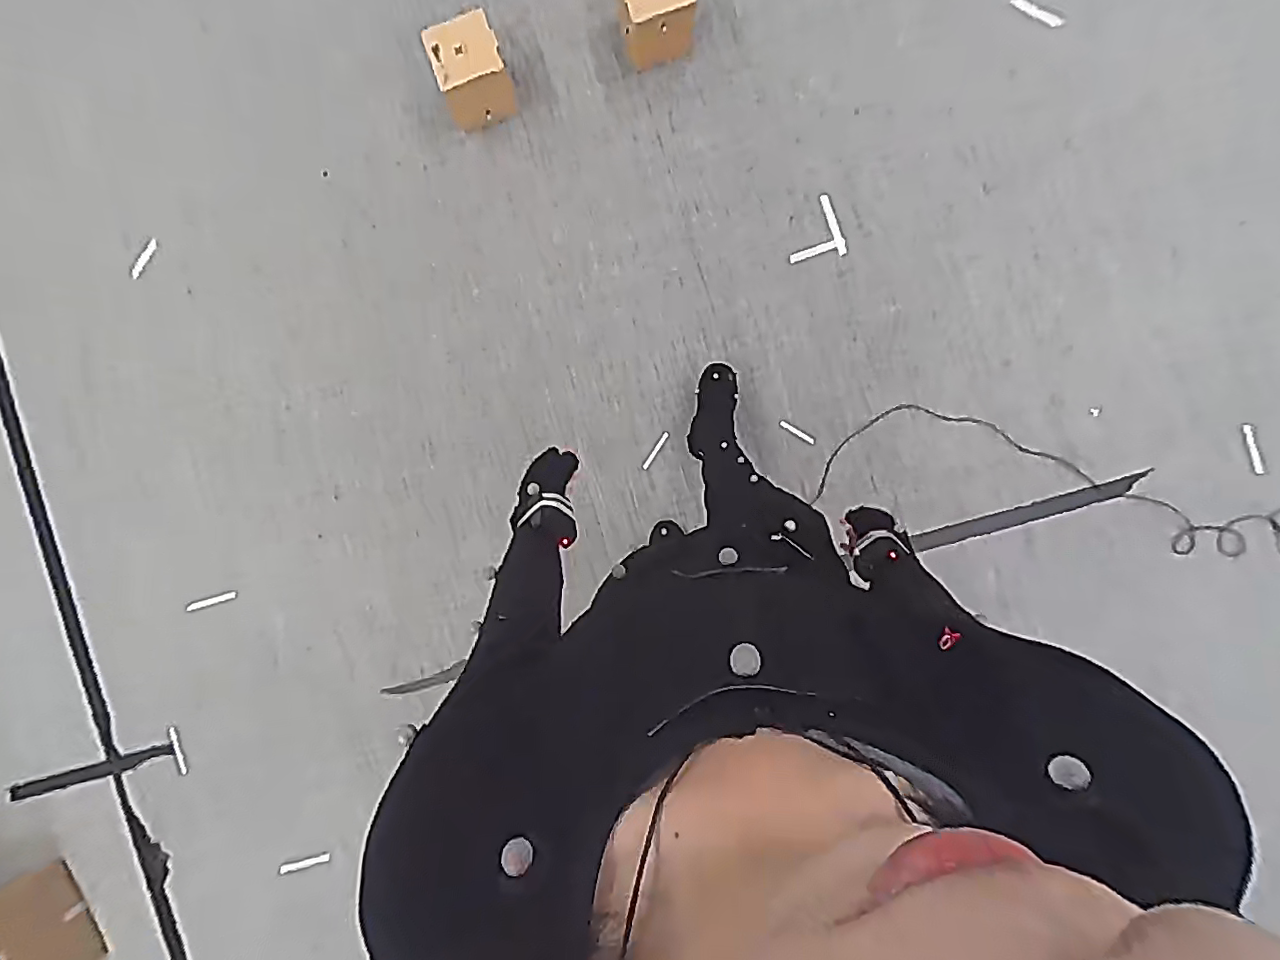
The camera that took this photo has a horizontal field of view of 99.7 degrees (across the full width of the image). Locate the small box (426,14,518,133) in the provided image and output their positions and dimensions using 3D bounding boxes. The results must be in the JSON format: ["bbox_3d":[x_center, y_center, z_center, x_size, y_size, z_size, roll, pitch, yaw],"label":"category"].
[{"bbox_3d":[-0.442,-1.087,1.461,0.179,0.176,0.168,-18,90,2],"label":"small box"}]

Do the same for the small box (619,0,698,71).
[{"bbox_3d":[0.044,-1.246,1.440,0.179,0.176,0.168,-18,91,1],"label":"small box"}]
